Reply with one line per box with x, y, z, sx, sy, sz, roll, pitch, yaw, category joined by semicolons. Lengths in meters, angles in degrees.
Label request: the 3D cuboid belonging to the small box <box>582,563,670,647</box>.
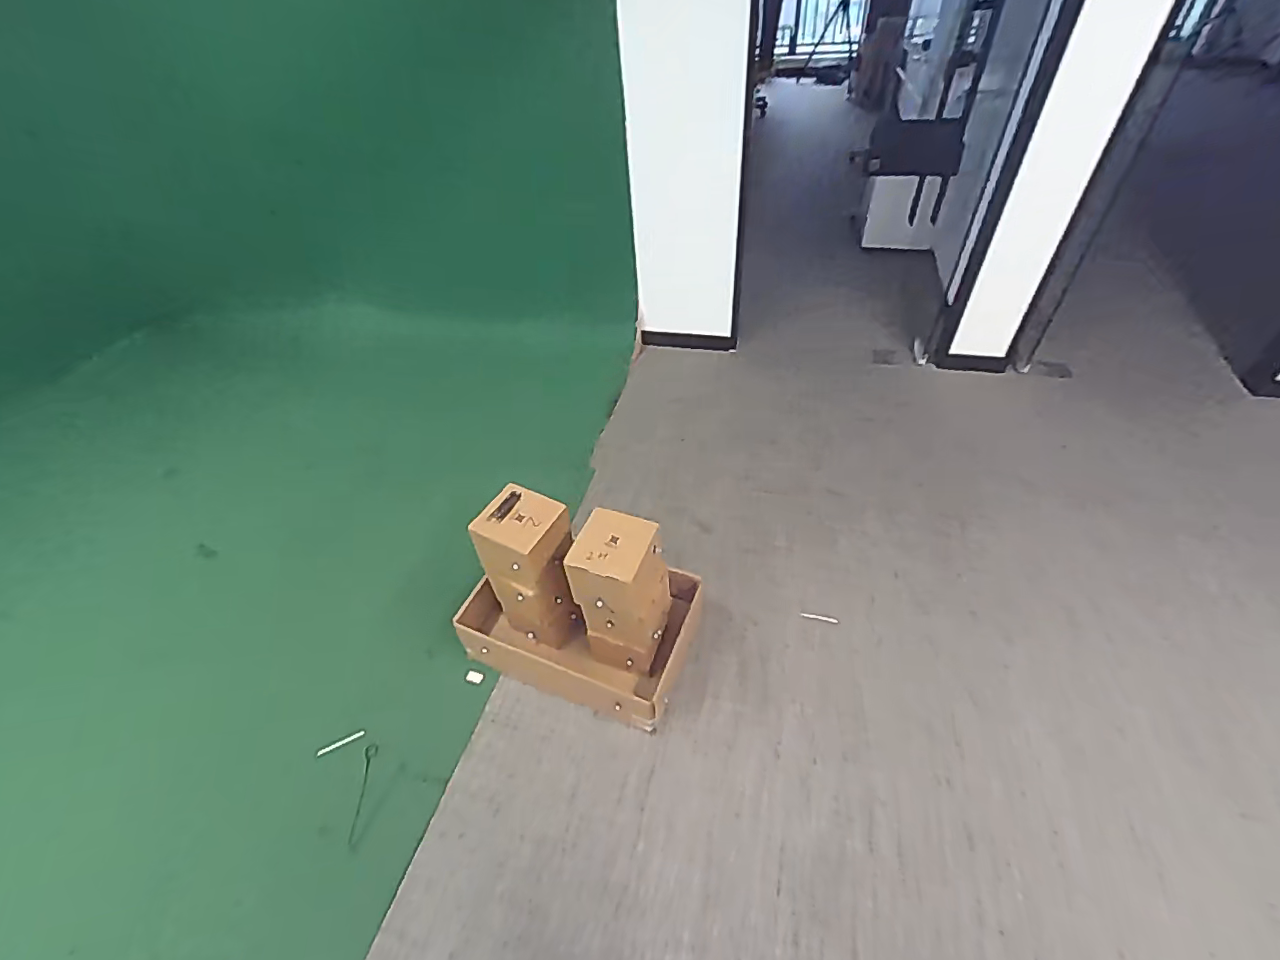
-0.028;0.307;1.393;0.179;0.176;0.168;12;49;19;small box

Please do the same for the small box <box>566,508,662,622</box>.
-0.053;0.199;1.270;0.168;0.176;0.179;13;49;19;small box
